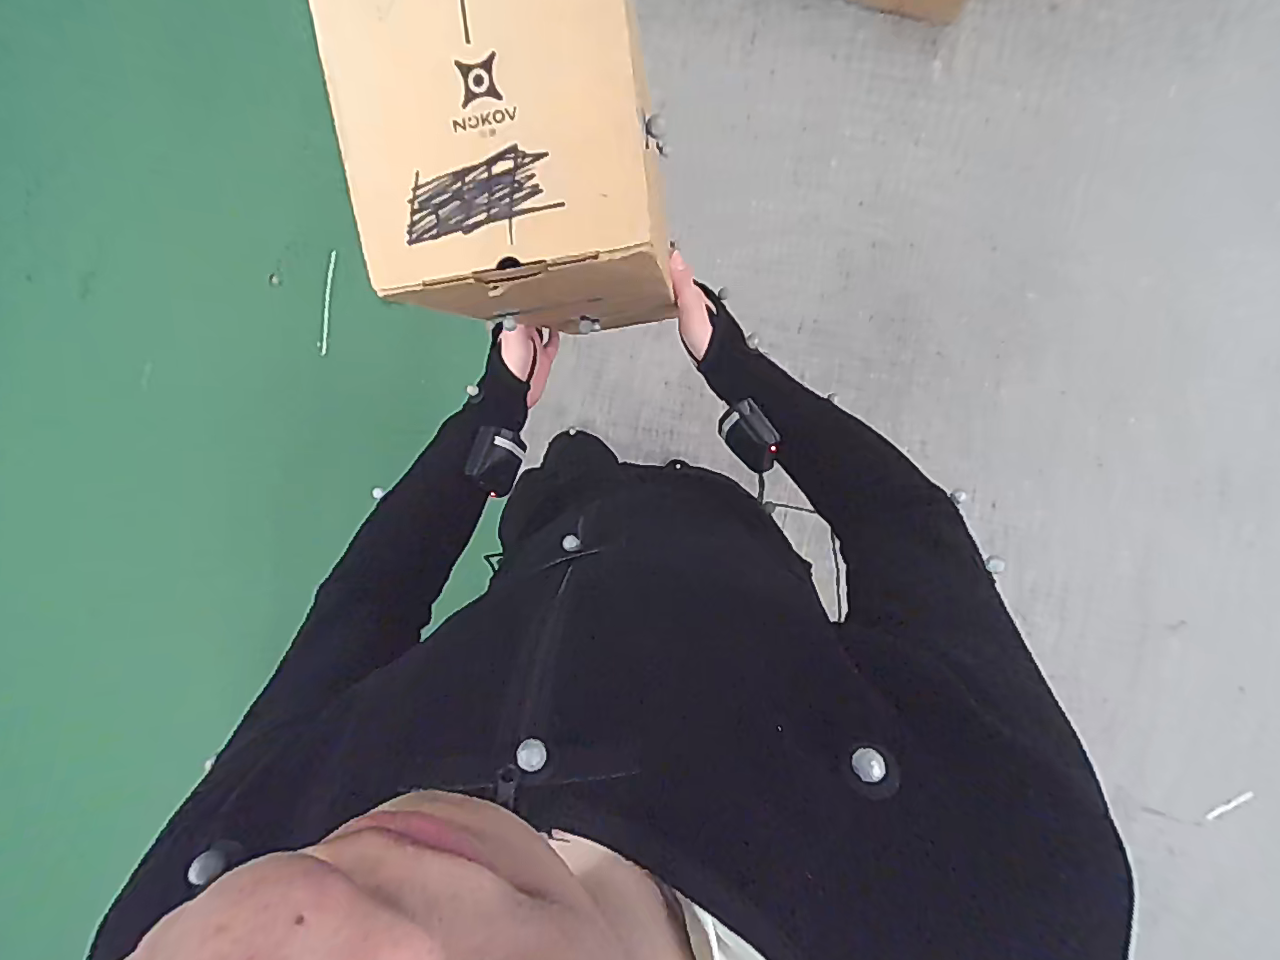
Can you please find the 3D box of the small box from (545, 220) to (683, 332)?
[{"bbox_3d":[-0.038,-0.289,0.675,0.168,0.176,0.179,-7,101,6],"label":"small box"}]

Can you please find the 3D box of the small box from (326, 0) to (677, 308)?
[{"bbox_3d":[-0.066,-0.215,0.356,0.168,0.176,0.179,-6,100,7],"label":"small box"}]

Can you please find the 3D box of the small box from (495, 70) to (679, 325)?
[{"bbox_3d":[-0.052,-0.252,0.515,0.168,0.176,0.179,-5,102,6],"label":"small box"}]
